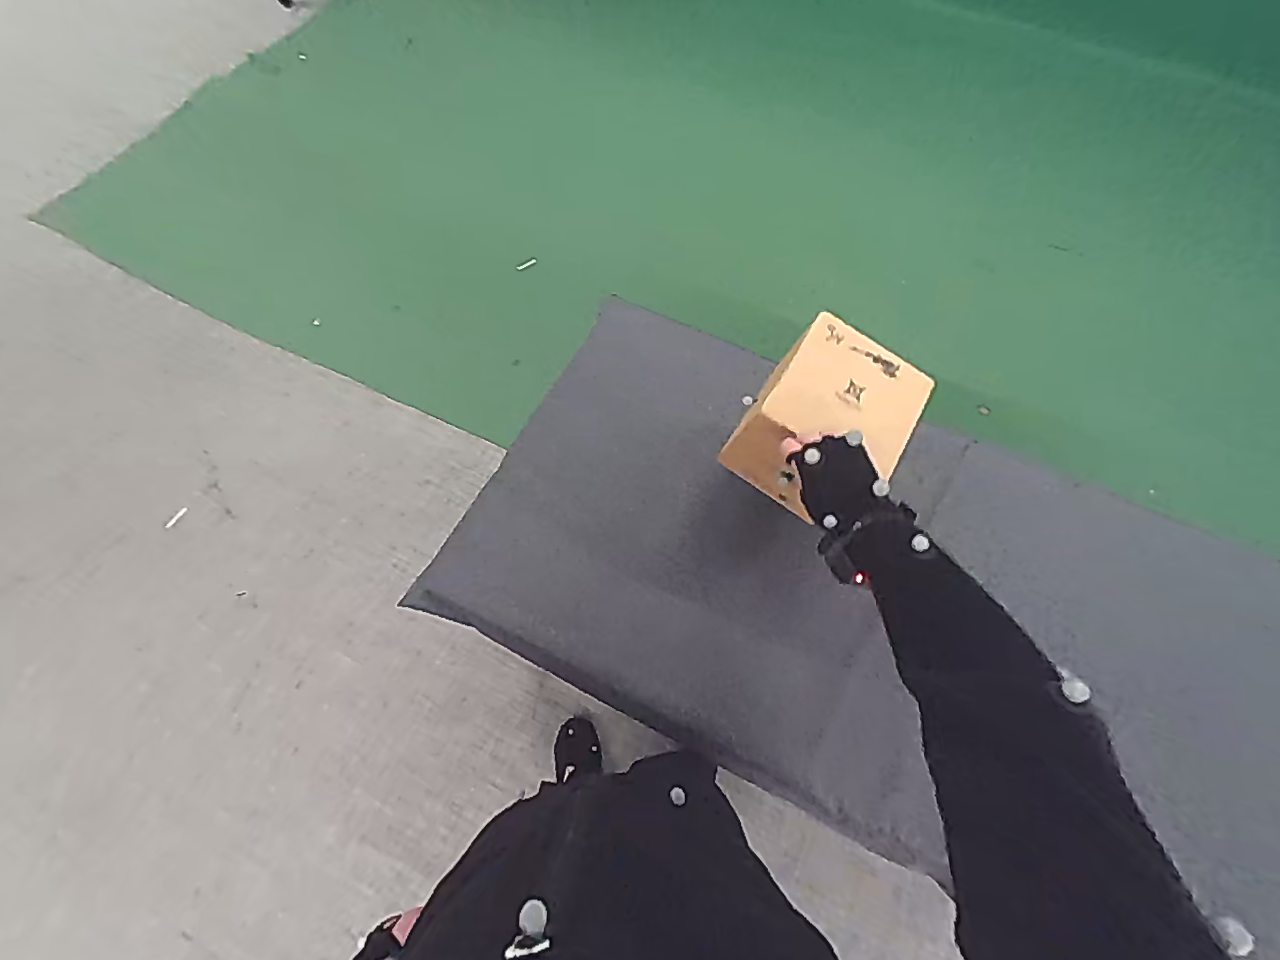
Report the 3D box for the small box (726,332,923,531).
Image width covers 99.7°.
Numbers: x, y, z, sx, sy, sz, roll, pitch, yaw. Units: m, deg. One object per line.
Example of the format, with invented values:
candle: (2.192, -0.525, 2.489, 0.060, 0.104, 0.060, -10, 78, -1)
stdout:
small box: (0.233, -0.053, 0.726, 0.168, 0.176, 0.179, 31, 70, 3)
